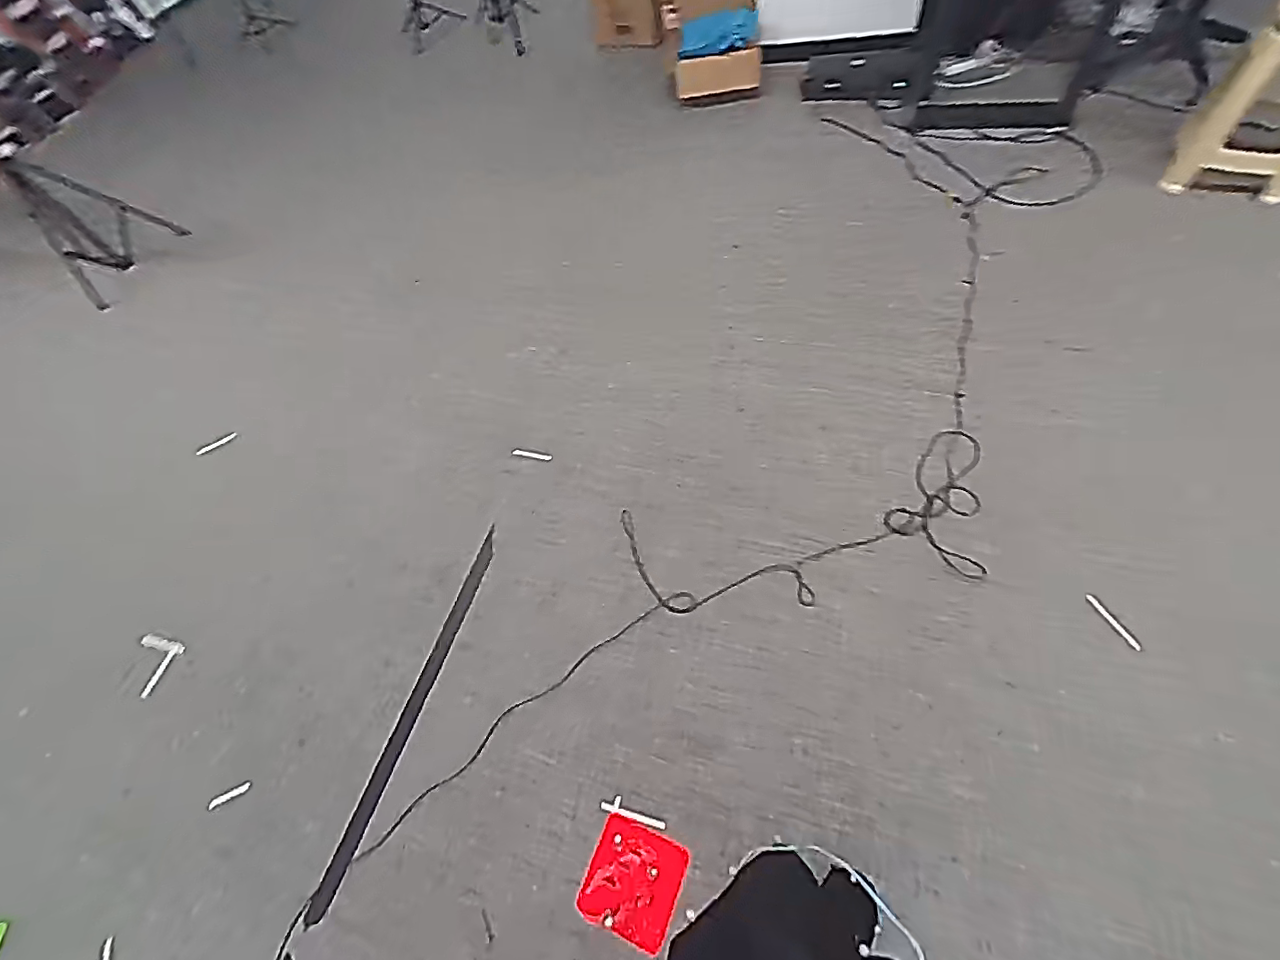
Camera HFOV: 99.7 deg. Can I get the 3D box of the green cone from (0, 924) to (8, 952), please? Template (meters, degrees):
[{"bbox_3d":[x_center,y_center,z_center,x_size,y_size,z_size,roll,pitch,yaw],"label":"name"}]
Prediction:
[{"bbox_3d":[-1.691,1.112,1.166,0.200,0.368,0.202,-4,58,10],"label":"green cone"}]

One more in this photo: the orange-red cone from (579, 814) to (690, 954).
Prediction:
[{"bbox_3d":[-0.044,0.772,1.011,0.198,0.360,0.199,17,66,22],"label":"orange-red cone"}]
